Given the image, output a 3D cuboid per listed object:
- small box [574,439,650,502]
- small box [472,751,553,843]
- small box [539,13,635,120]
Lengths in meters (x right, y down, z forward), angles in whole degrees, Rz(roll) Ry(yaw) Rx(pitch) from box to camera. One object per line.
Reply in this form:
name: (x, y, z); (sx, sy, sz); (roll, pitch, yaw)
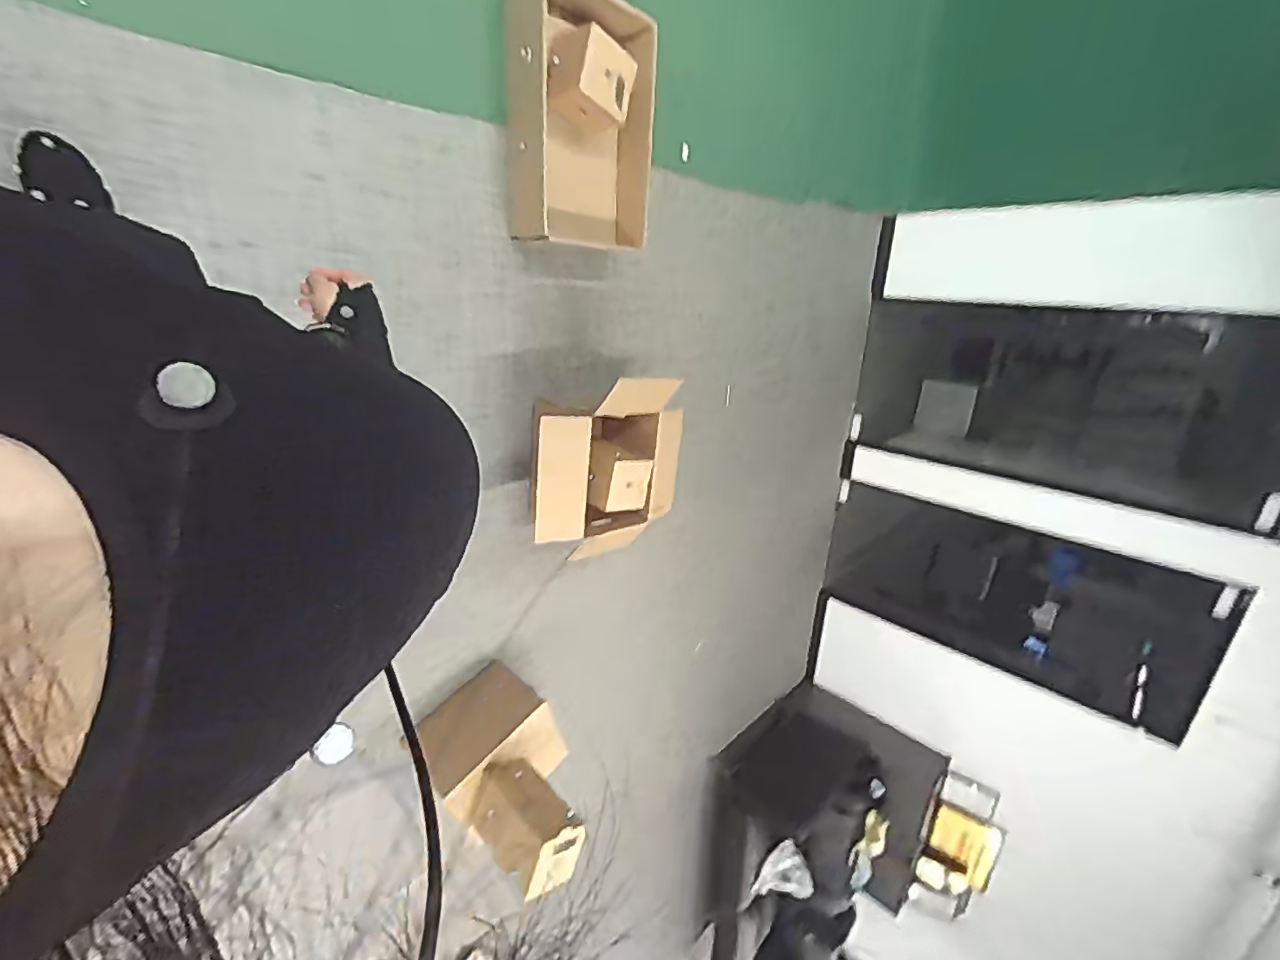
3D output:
small box: (-0.096, -0.035, 1.796); (0.179, 0.176, 0.168); (-4, 112, -47)
small box: (-0.405, 0.981, 1.699); (0.168, 0.176, 0.179); (12, 94, -49)
small box: (-0.147, -1.123, 1.488); (0.179, 0.176, 0.168); (4, 104, -49)
